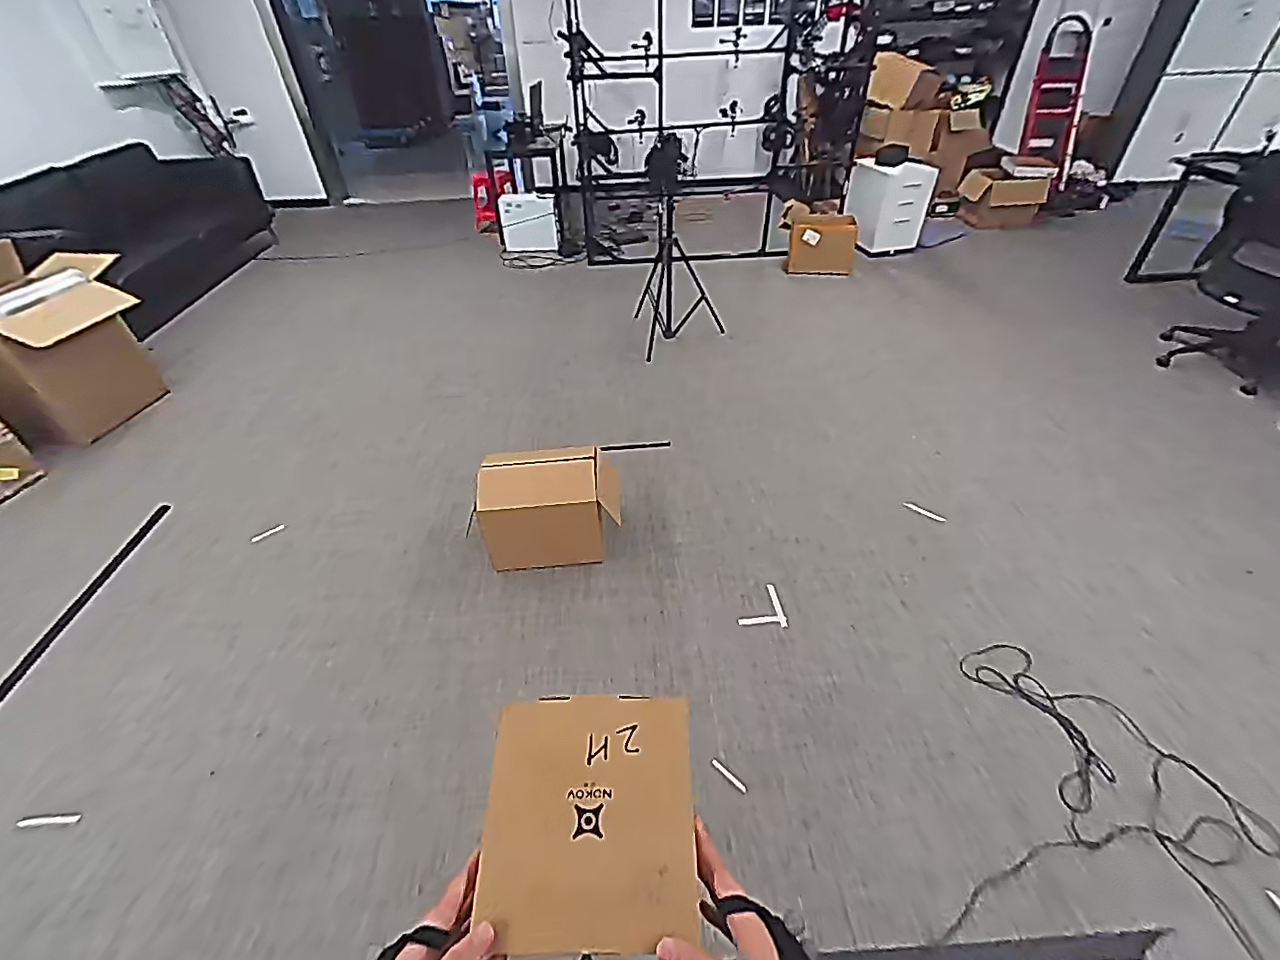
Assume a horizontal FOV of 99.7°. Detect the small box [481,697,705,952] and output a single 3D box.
[{"bbox_3d":[-0.032,0.316,0.498,0.168,0.176,0.179,0,49,0],"label":"small box"}]
